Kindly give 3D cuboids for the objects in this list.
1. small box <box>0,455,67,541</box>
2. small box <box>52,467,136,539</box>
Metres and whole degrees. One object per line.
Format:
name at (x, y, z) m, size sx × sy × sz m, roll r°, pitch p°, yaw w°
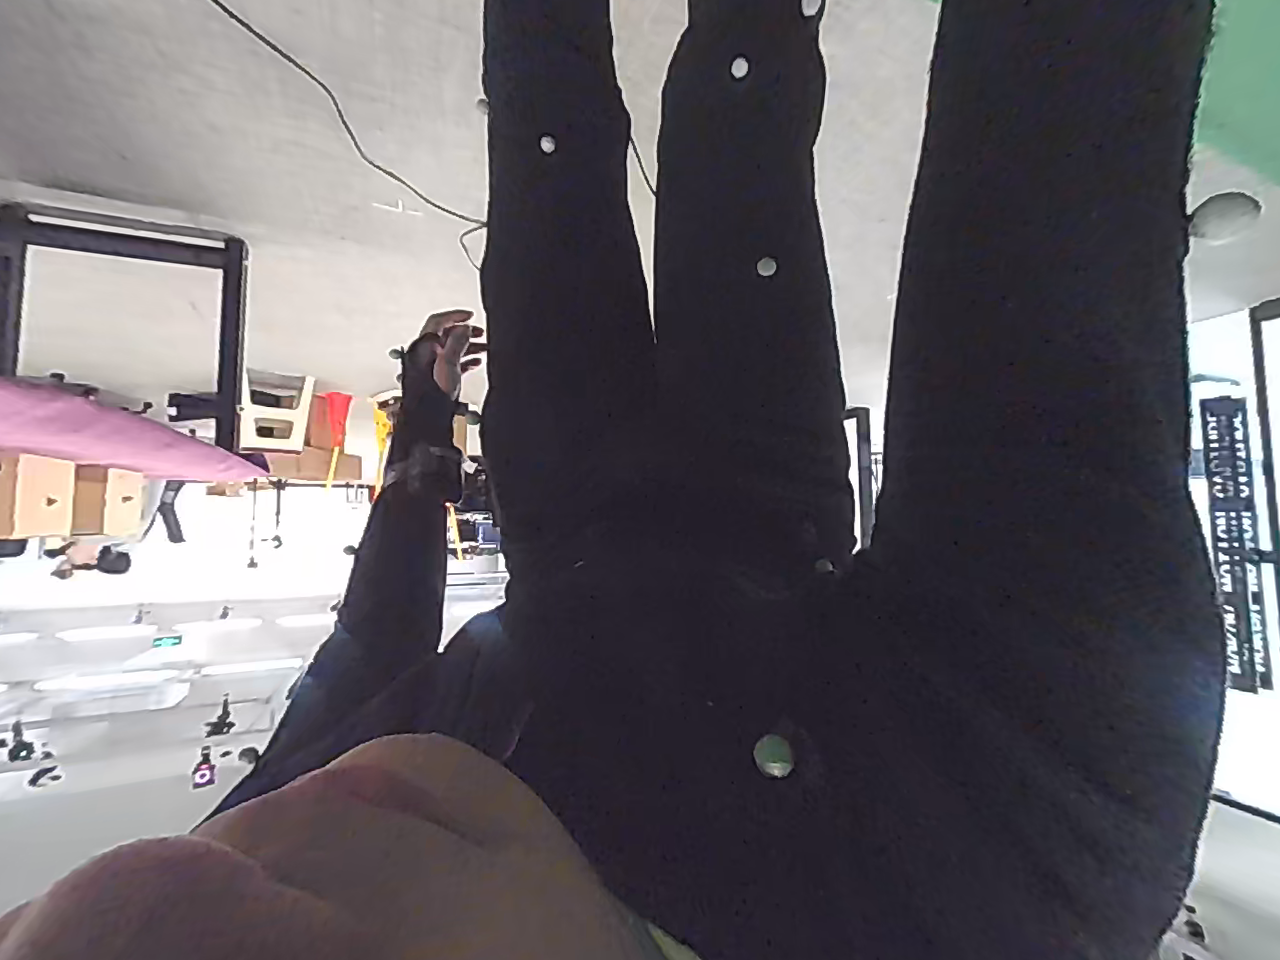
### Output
small box at (-1.295, 0.035, 1.070) m, size 0.168 × 0.176 × 0.179 m, roll 1°, pitch 176°, yaw -20°
small box at (-1.401, 0.056, 1.341) m, size 0.179 × 0.176 × 0.168 m, roll 0°, pitch 175°, yaw -20°
